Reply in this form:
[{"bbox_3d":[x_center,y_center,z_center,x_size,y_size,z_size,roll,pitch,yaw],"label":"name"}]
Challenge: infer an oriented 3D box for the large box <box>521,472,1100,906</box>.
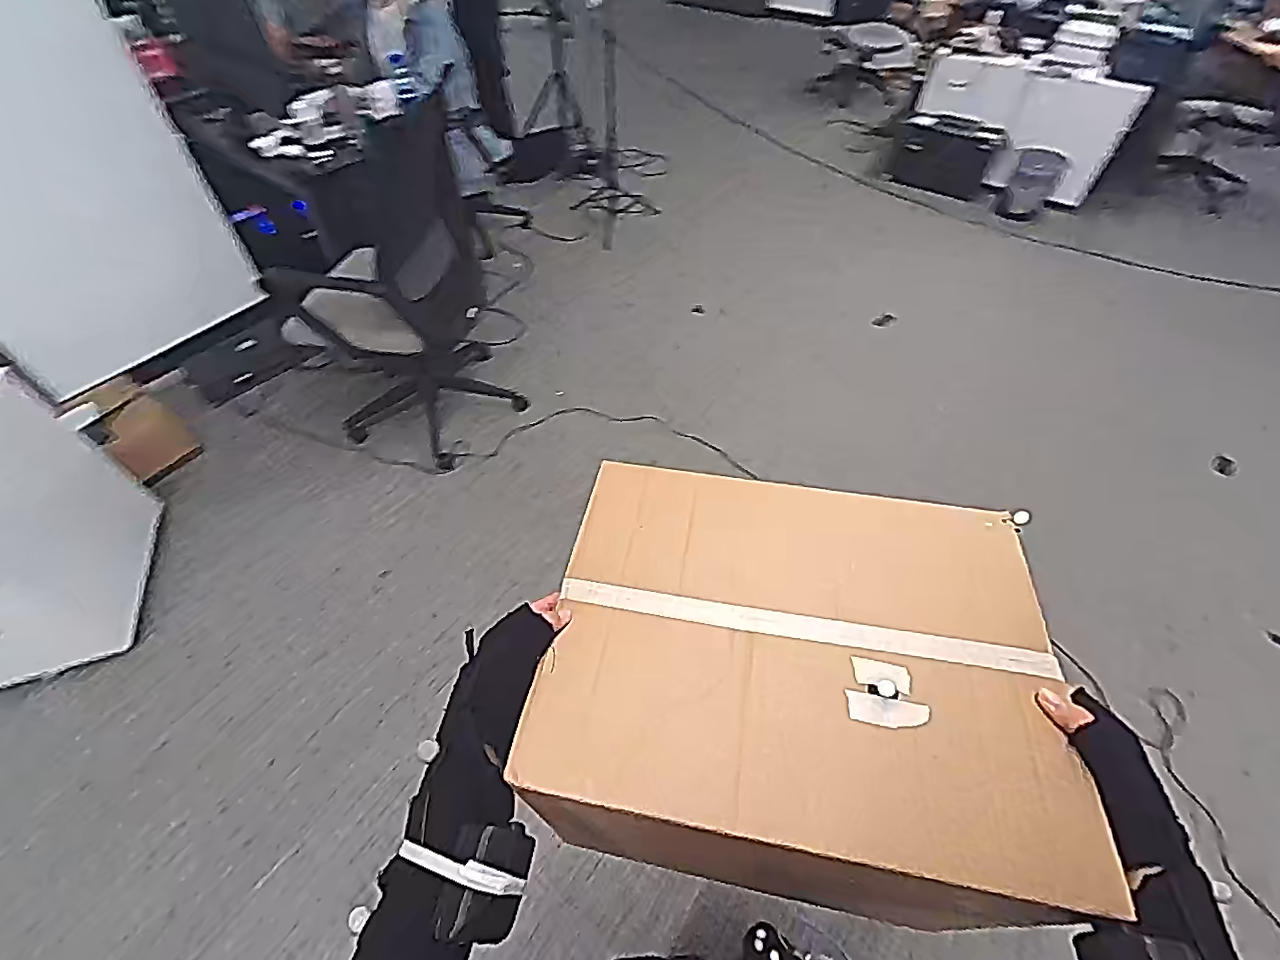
[{"bbox_3d":[0.130,0.222,0.580,0.408,0.320,0.320,7,51,7],"label":"large box"}]
